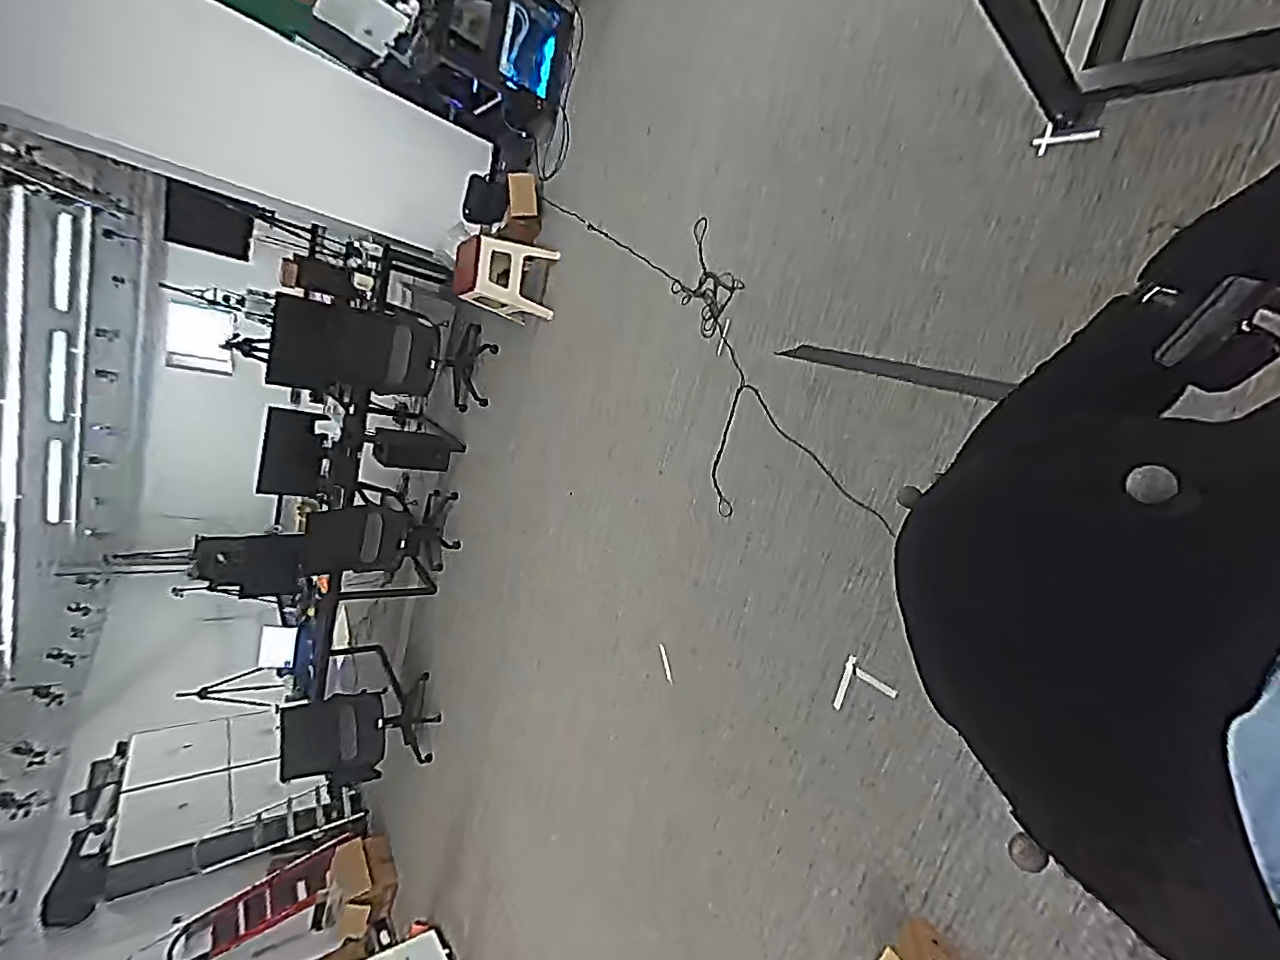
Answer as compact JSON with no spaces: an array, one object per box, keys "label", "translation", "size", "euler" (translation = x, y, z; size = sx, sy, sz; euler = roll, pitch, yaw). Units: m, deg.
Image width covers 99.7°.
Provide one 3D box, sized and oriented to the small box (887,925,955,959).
[{"label":"small box","translation":[0.692,1.251,1.320],"size":[0.168,0.176,0.179],"euler":[35,113,47]}]
